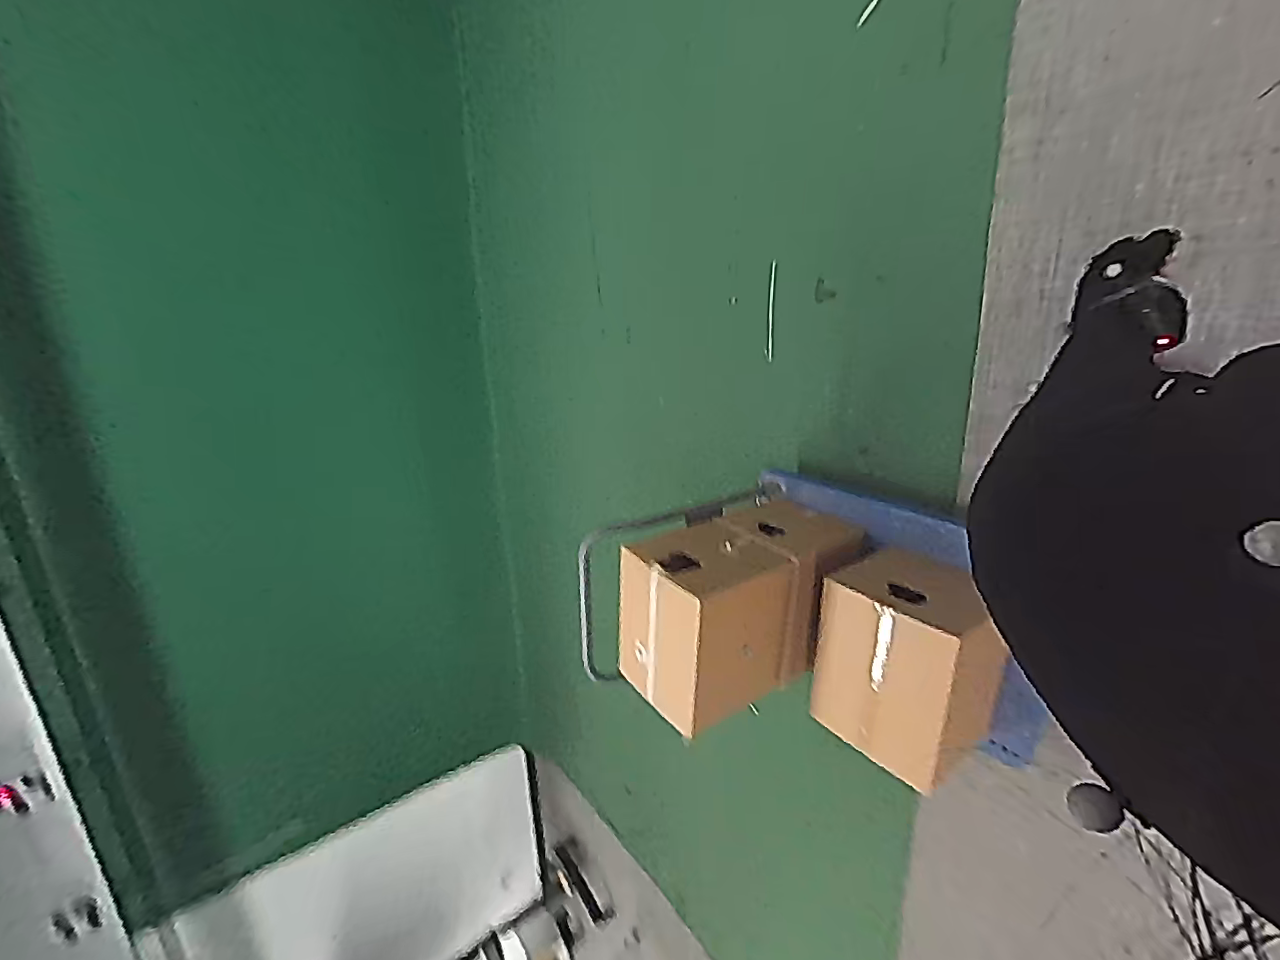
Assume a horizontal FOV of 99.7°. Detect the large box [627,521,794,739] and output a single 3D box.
[{"bbox_3d":[0.177,0.369,1.431,0.320,0.320,0.408,27,123,50],"label":"large box"}]
